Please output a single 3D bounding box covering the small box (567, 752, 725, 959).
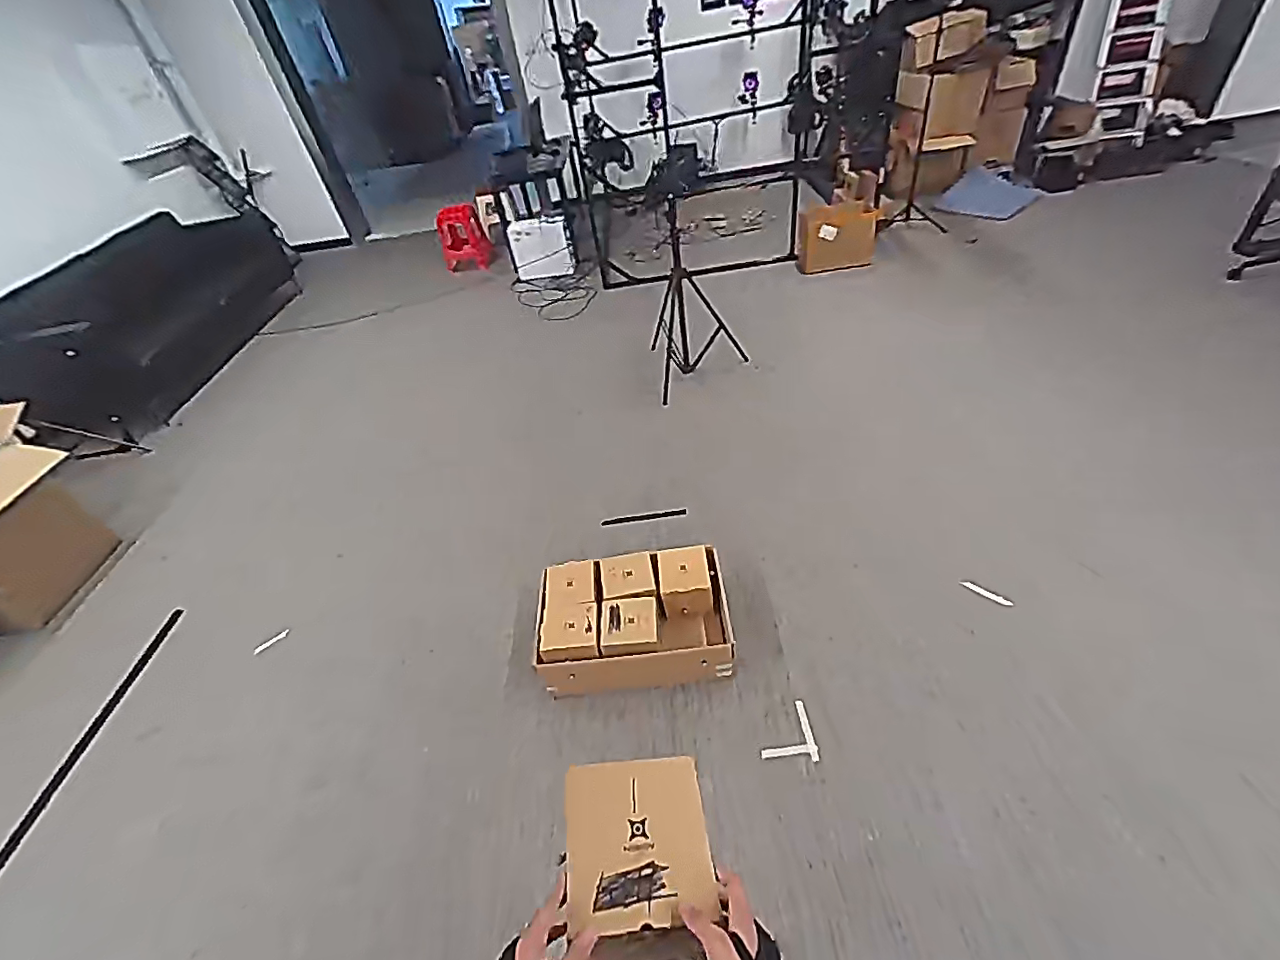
[{"bbox_3d":[-0.005,0.465,0.664,0.168,0.176,0.179,0,38,-8],"label":"small box"}]
